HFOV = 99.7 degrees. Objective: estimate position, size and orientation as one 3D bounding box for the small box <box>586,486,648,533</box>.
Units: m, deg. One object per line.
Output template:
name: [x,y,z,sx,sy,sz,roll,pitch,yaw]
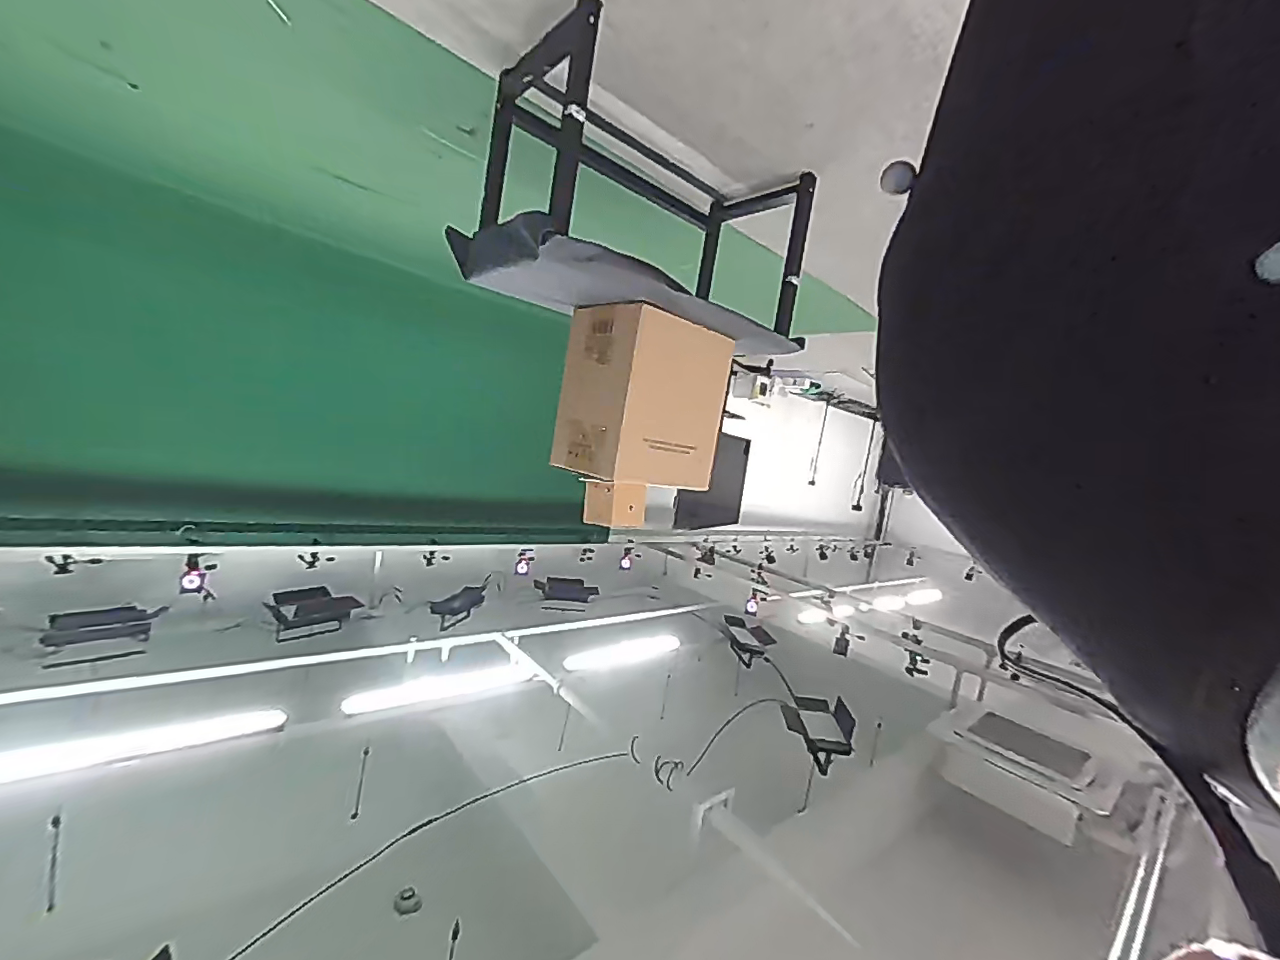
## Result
small box: [-0.089,0.115,2.127,0.179,0.176,0.168,6,179,-45]
